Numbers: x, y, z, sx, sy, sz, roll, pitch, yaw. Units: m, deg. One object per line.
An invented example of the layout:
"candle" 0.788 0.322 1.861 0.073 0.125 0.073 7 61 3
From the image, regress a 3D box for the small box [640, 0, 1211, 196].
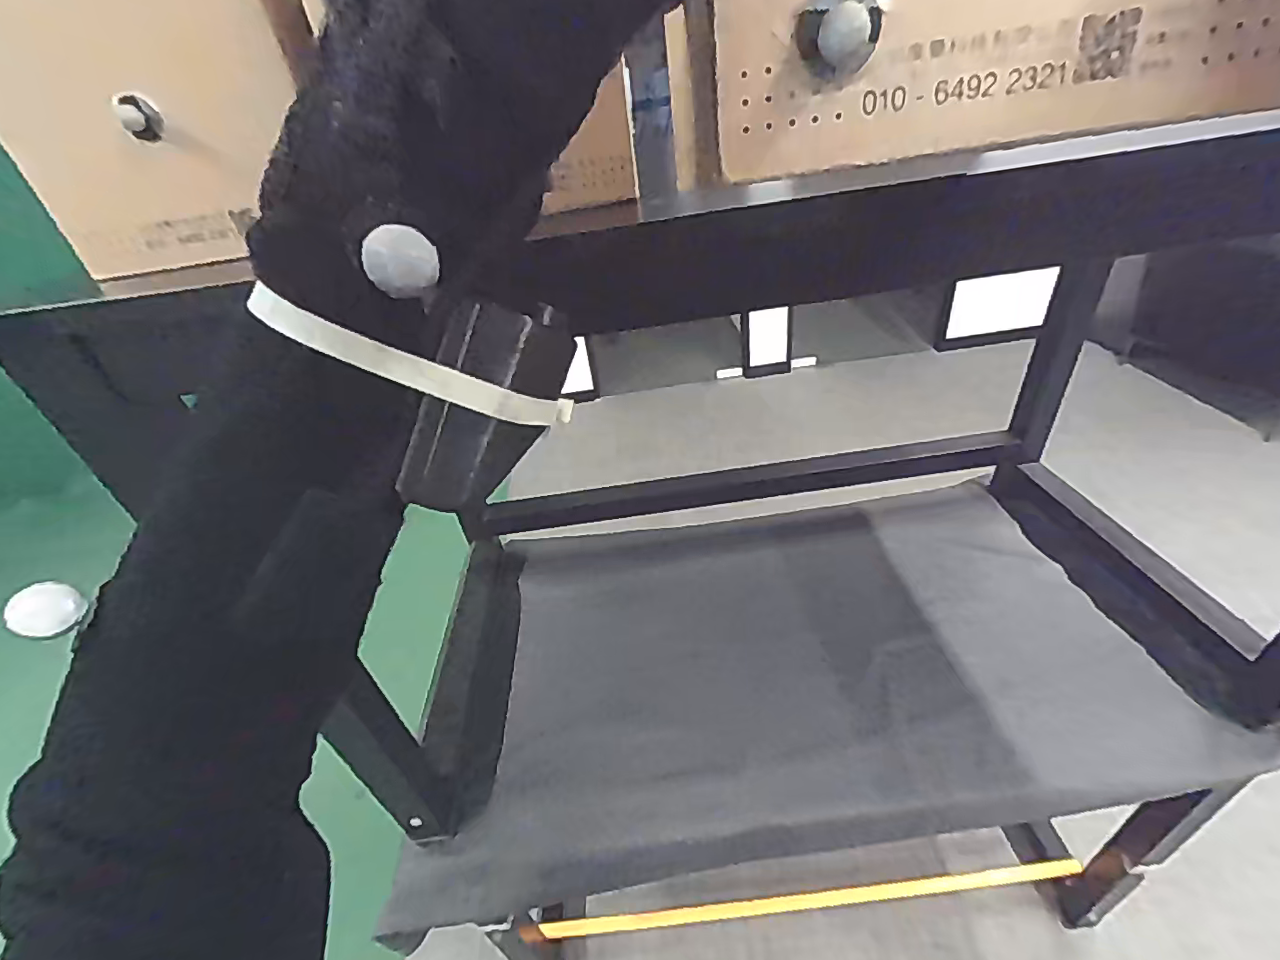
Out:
"small box" 0.081 -0.215 0.206 0.168 0.176 0.179 -6 25 4

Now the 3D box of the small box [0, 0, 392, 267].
"small box" -0.304 -0.263 0.394 0.168 0.176 0.179 -11 34 -5
